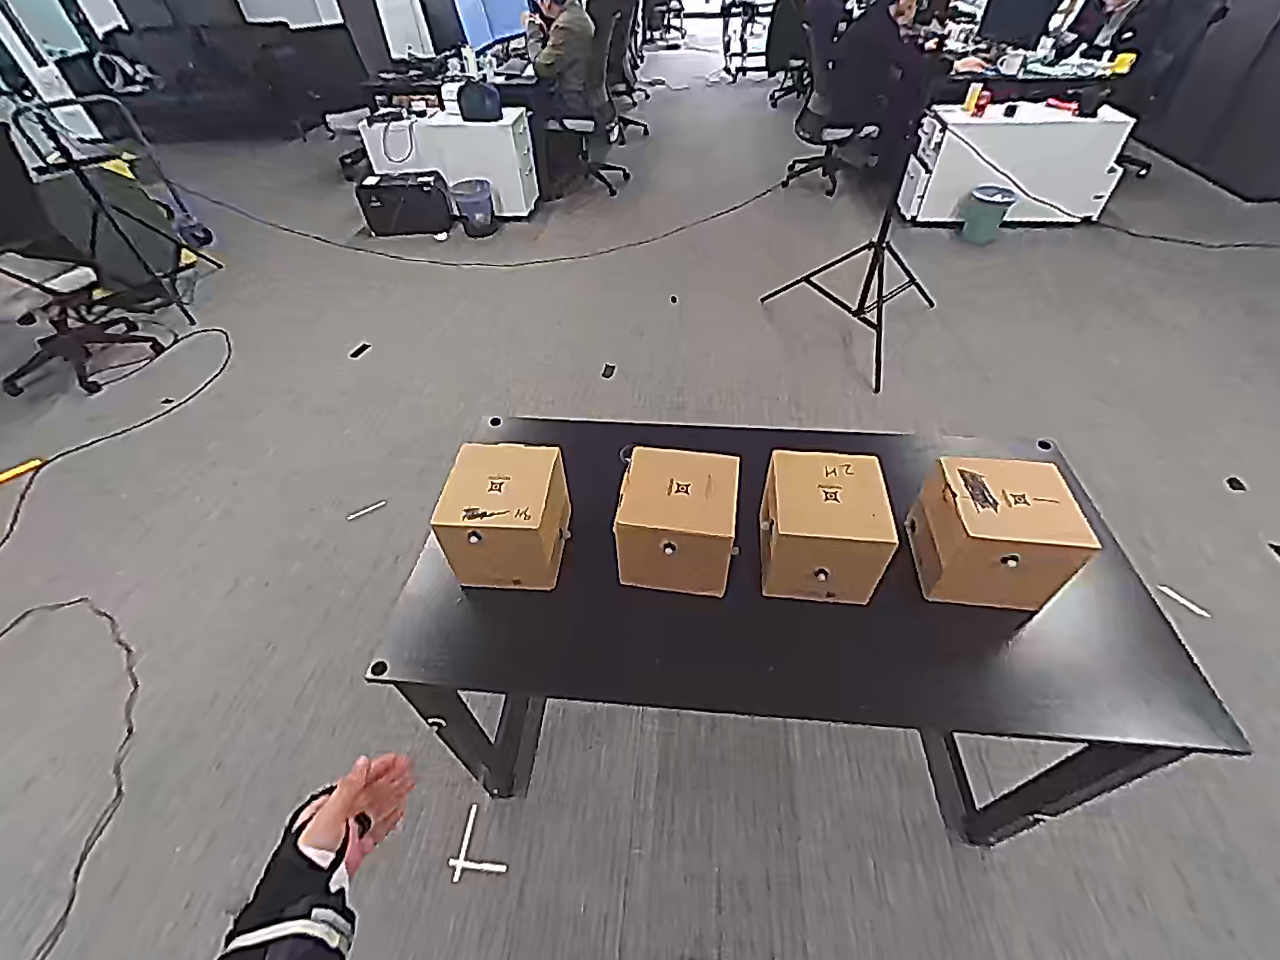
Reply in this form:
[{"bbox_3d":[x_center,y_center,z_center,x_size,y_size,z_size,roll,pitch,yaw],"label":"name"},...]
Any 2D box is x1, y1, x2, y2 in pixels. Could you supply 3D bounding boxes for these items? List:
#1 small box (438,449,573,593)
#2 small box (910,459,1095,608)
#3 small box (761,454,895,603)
[{"bbox_3d":[-0.213,0.068,0.913,0.168,0.176,0.179,2,46,5],"label":"small box"},{"bbox_3d":[0.552,0.087,0.860,0.179,0.176,0.168,5,47,6],"label":"small box"},{"bbox_3d":[0.292,0.080,0.878,0.168,0.176,0.179,4,47,6],"label":"small box"}]
